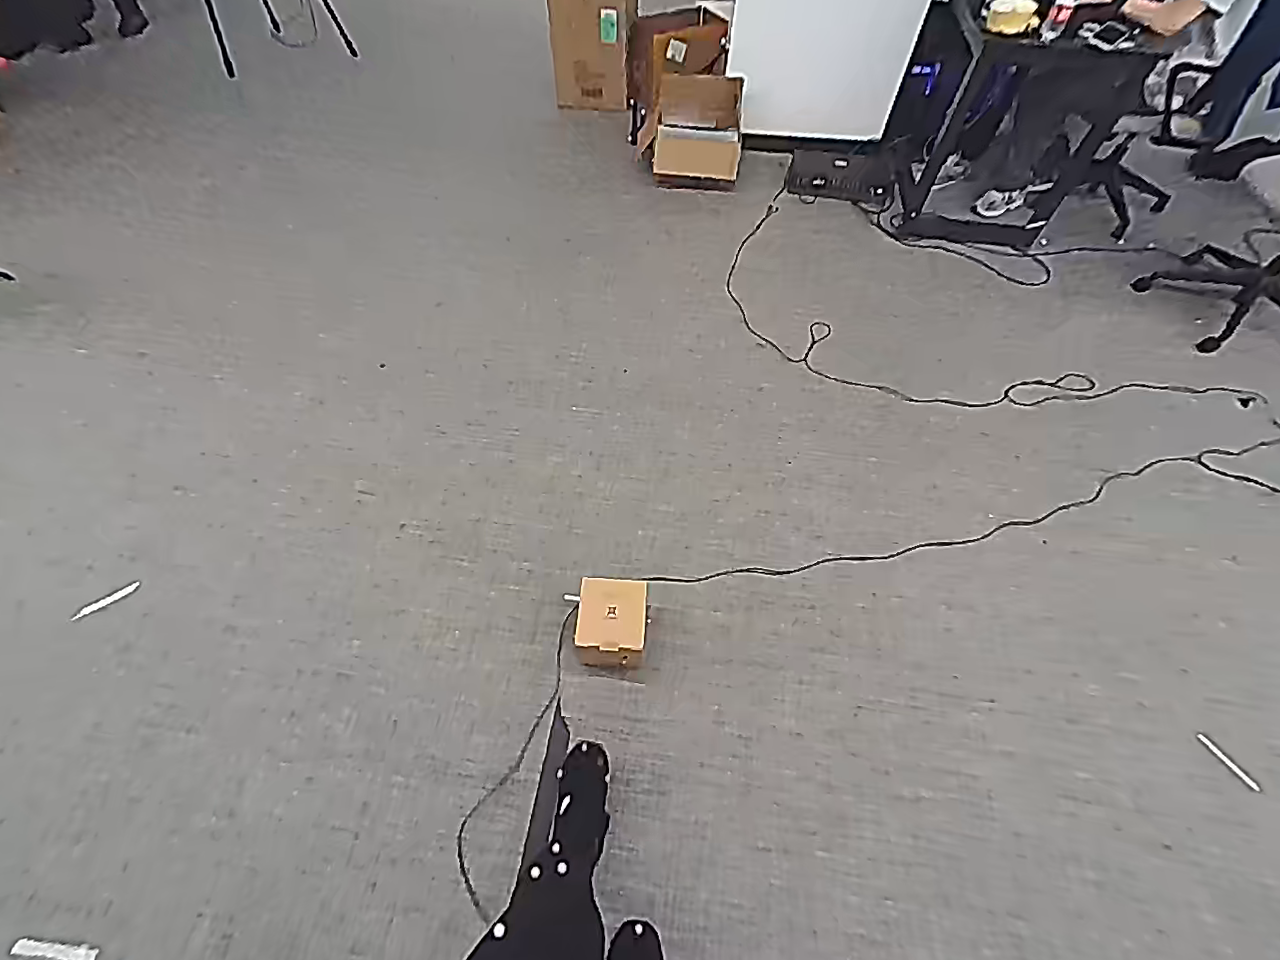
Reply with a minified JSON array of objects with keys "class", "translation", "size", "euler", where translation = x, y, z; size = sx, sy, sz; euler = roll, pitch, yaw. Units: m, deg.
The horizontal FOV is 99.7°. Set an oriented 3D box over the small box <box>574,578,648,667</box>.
[{"class":"small box","translation":[-0.068,0.369,1.385],"size":[0.168,0.176,0.179],"euler":[4,57,1]}]
